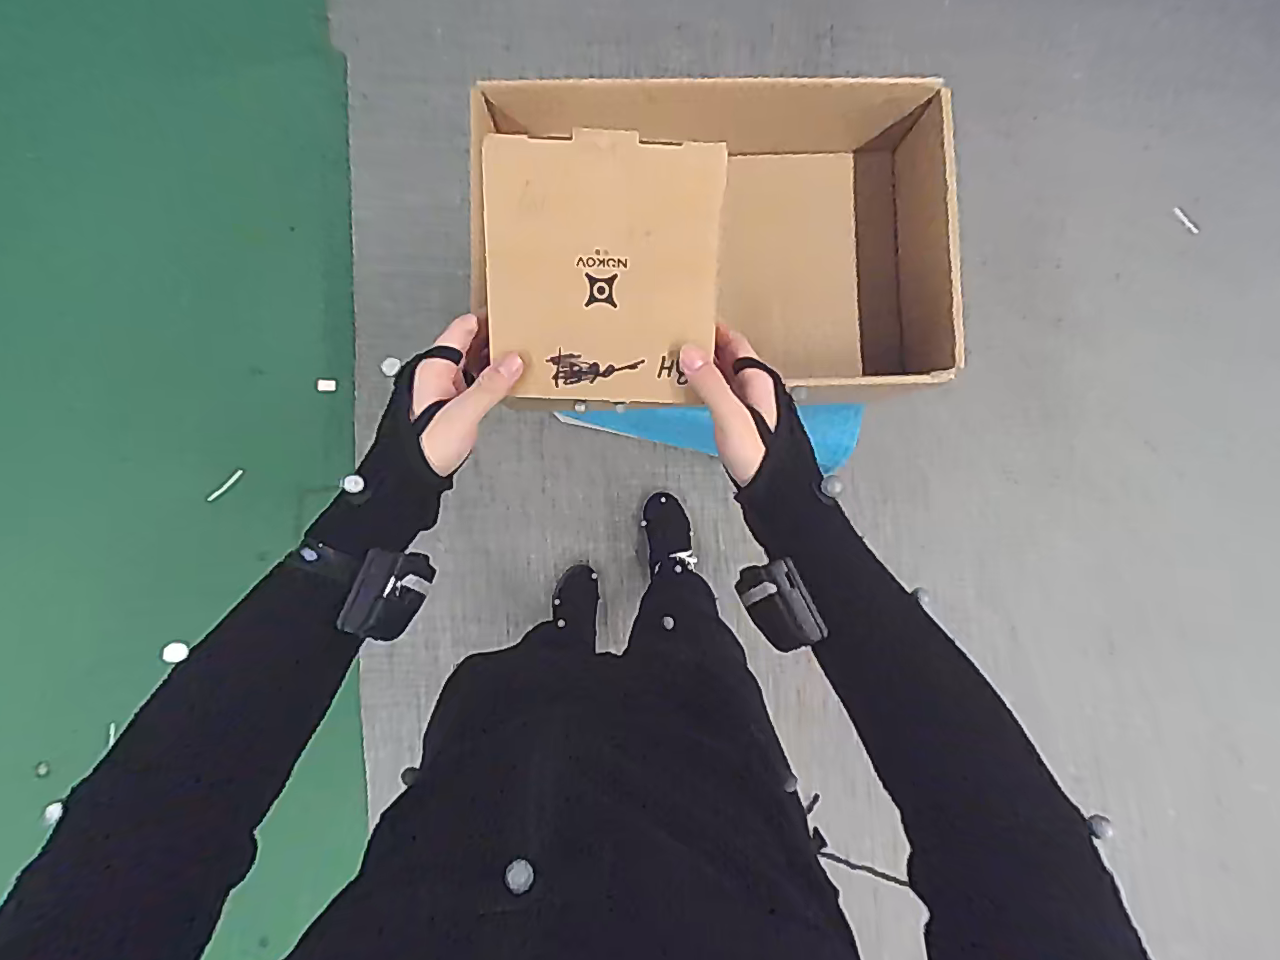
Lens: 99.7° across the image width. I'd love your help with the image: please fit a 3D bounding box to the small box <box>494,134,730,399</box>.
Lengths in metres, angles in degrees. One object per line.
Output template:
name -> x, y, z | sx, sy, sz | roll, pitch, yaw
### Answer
small box -> -0.022, -0.168, 0.466 | 0.168, 0.176, 0.179 | 2, 105, 1
